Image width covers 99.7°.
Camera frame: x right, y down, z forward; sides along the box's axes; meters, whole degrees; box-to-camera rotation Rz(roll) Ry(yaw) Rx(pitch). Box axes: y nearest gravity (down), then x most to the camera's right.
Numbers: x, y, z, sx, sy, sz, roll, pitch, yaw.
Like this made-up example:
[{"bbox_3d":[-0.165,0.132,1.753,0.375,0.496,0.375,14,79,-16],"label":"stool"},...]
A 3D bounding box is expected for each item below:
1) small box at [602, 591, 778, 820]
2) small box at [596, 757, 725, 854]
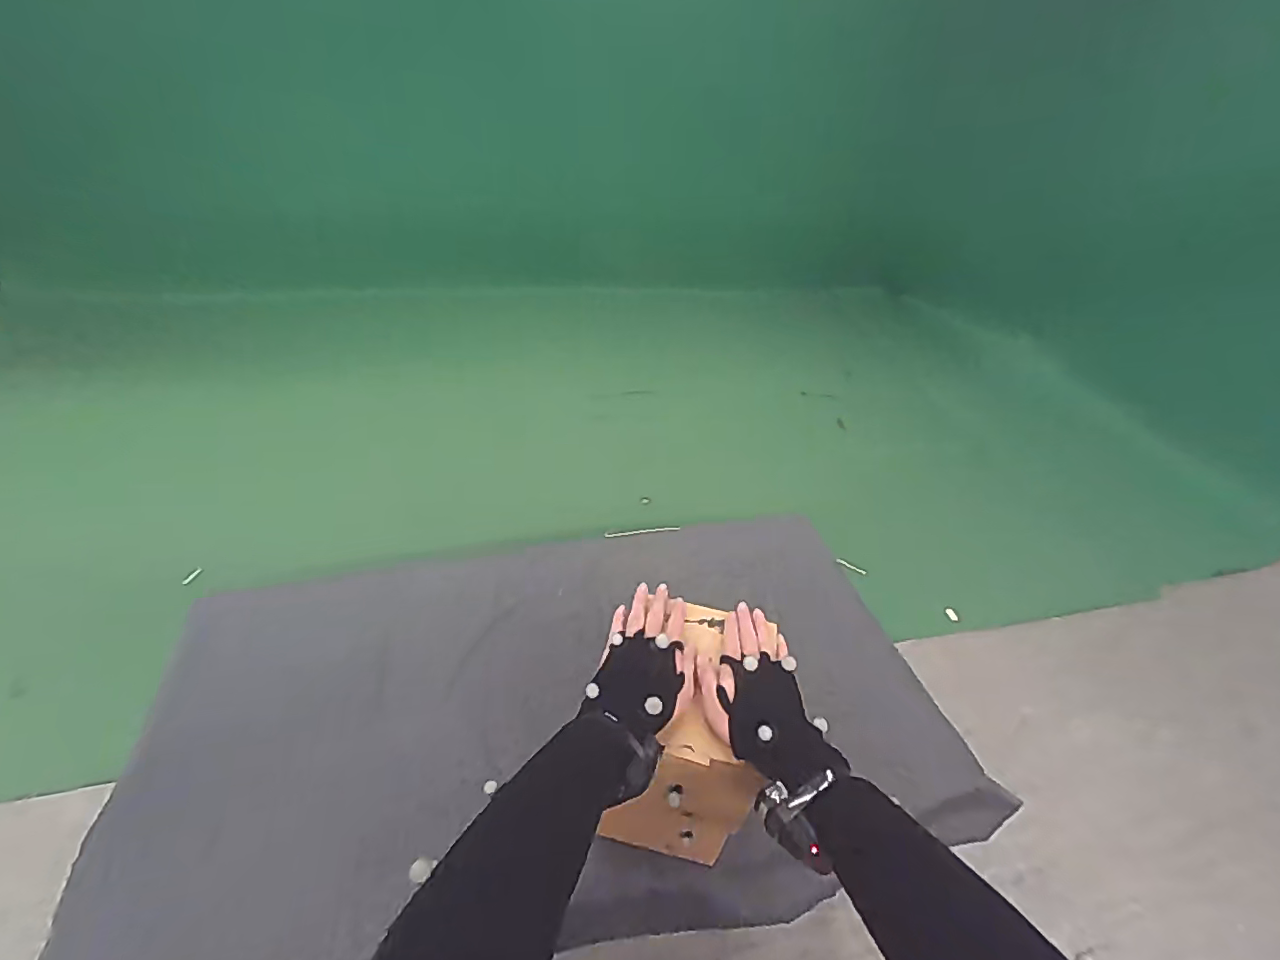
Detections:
[{"bbox_3d":[0.056,0.264,0.632,0.168,0.176,0.179,13,42,6],"label":"small box"},{"bbox_3d":[0.040,0.379,0.746,0.168,0.176,0.179,12,40,6],"label":"small box"}]
